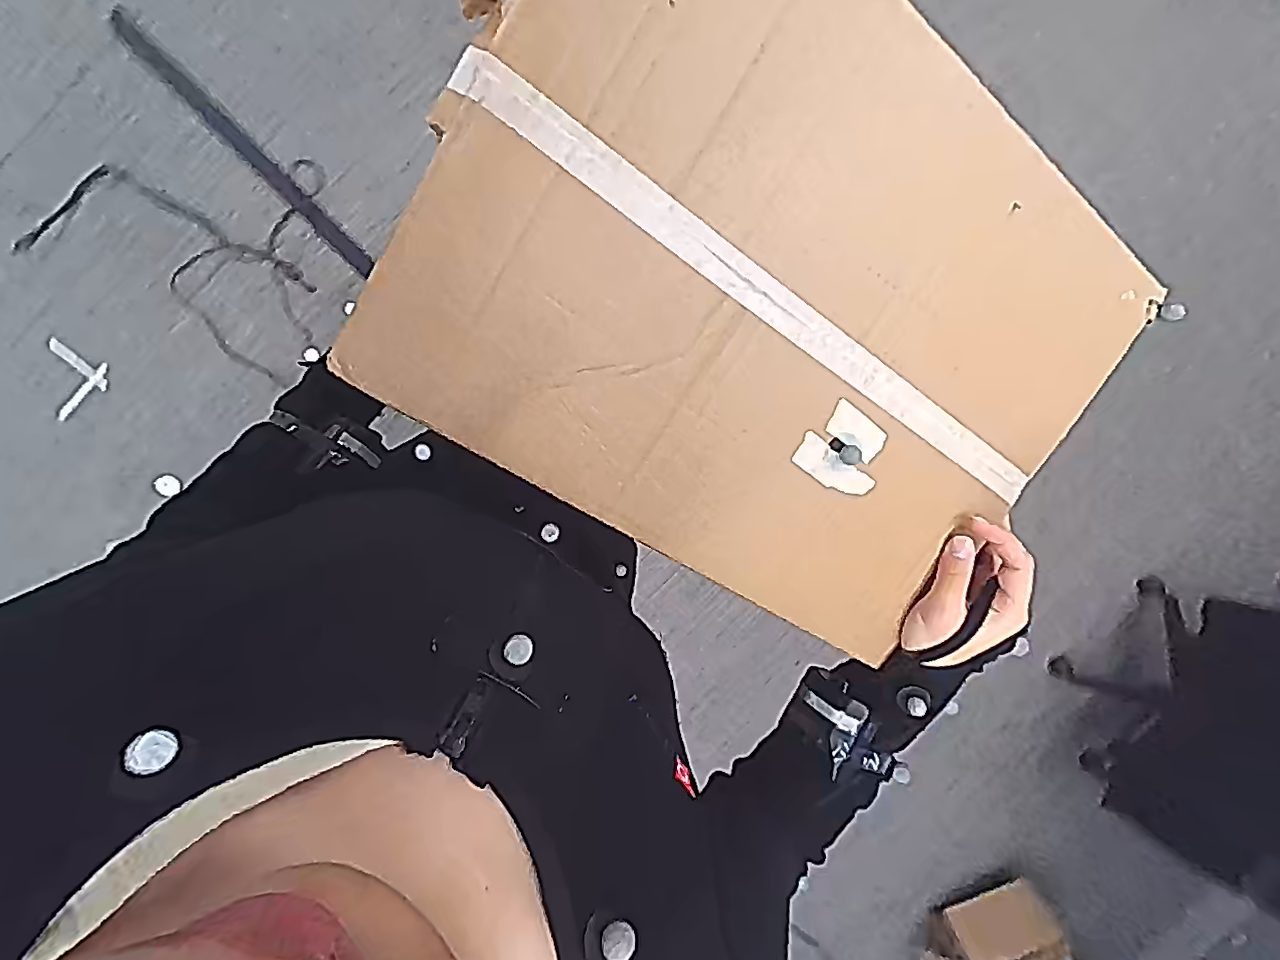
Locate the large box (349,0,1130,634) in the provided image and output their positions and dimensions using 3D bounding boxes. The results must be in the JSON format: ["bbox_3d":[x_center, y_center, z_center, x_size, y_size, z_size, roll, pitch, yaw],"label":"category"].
[{"bbox_3d":[0.055,-0.139,0.457,0.408,0.320,0.320,29,99,-19],"label":"large box"}]
